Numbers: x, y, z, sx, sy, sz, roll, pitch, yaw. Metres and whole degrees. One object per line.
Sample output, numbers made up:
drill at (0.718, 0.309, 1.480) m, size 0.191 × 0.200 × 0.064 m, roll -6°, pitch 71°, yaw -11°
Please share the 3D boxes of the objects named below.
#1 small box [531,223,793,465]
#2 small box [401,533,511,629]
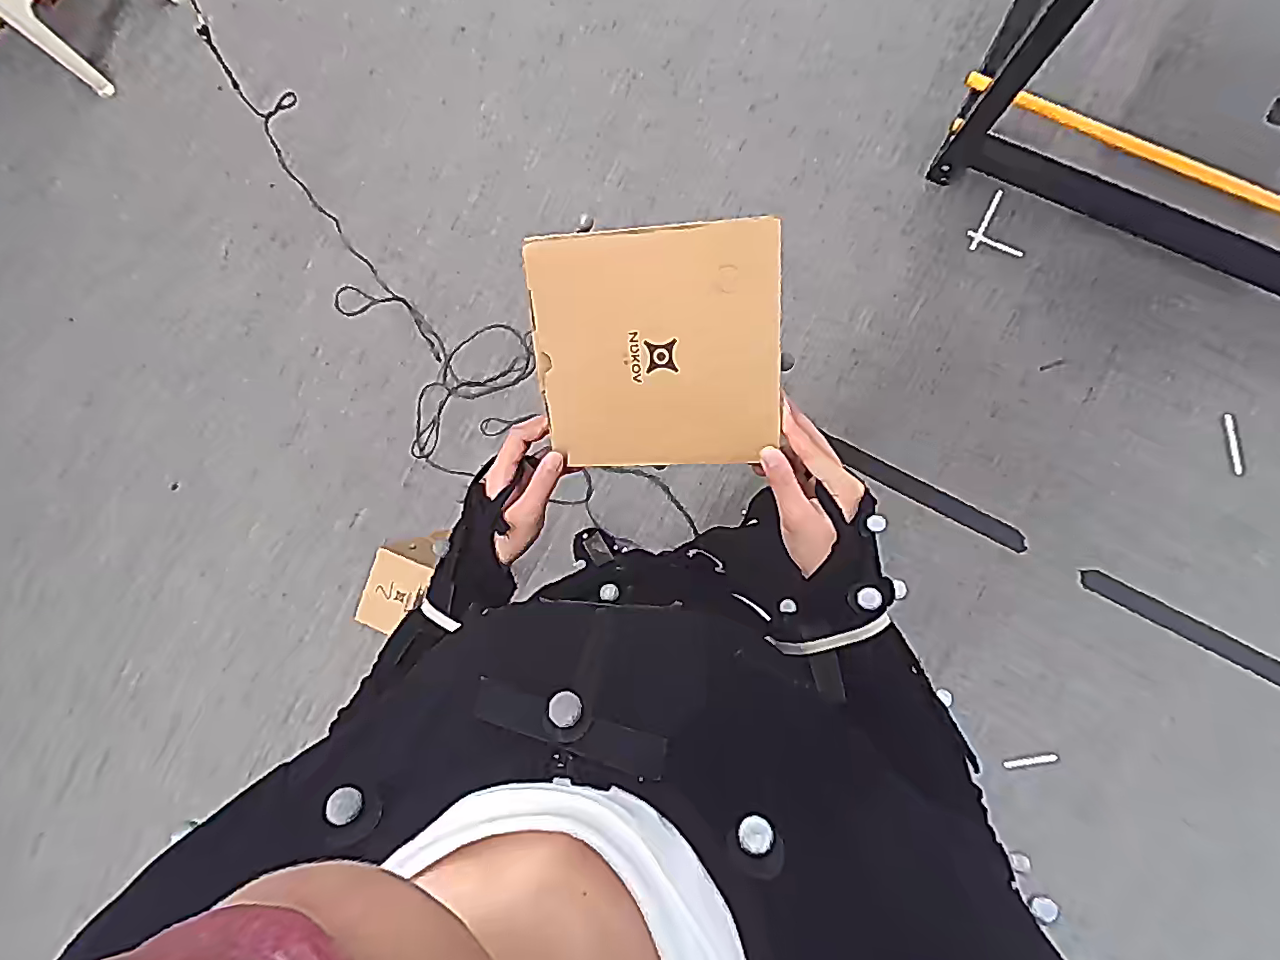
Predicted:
small box at (0.029, -0.118, 0.454) m, size 0.179 × 0.176 × 0.168 m, roll 0°, pitch 111°, yaw 11°
small box at (-0.449, 0.242, 1.352) m, size 0.179 × 0.176 × 0.168 m, roll 26°, pitch 93°, yaw 6°
